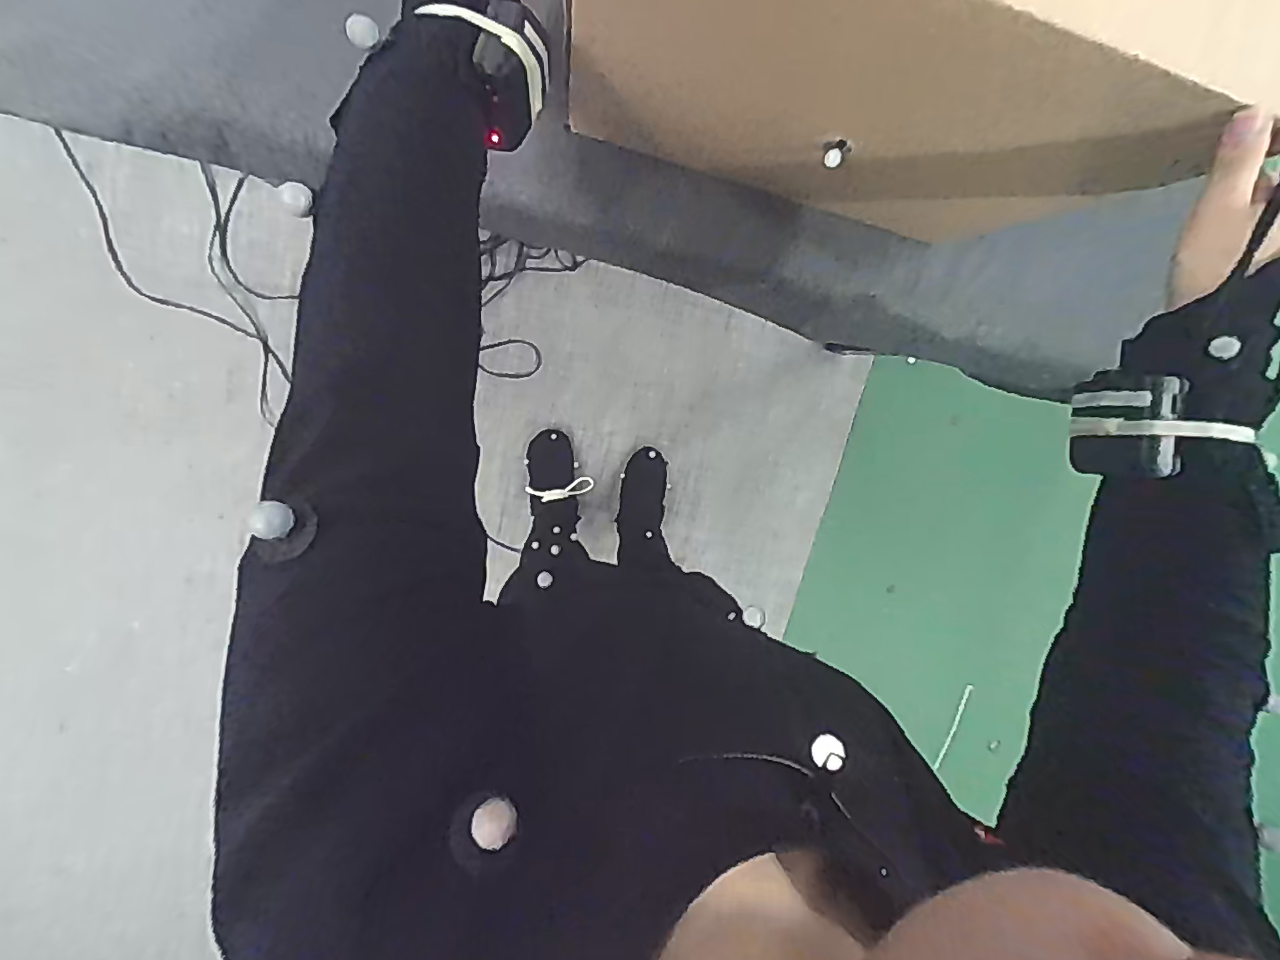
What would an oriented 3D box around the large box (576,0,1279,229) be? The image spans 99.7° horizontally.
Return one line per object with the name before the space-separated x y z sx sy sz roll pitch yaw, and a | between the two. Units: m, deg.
large box | 0.181 -0.404 0.374 0.408 0.320 0.320 10 102 -10
